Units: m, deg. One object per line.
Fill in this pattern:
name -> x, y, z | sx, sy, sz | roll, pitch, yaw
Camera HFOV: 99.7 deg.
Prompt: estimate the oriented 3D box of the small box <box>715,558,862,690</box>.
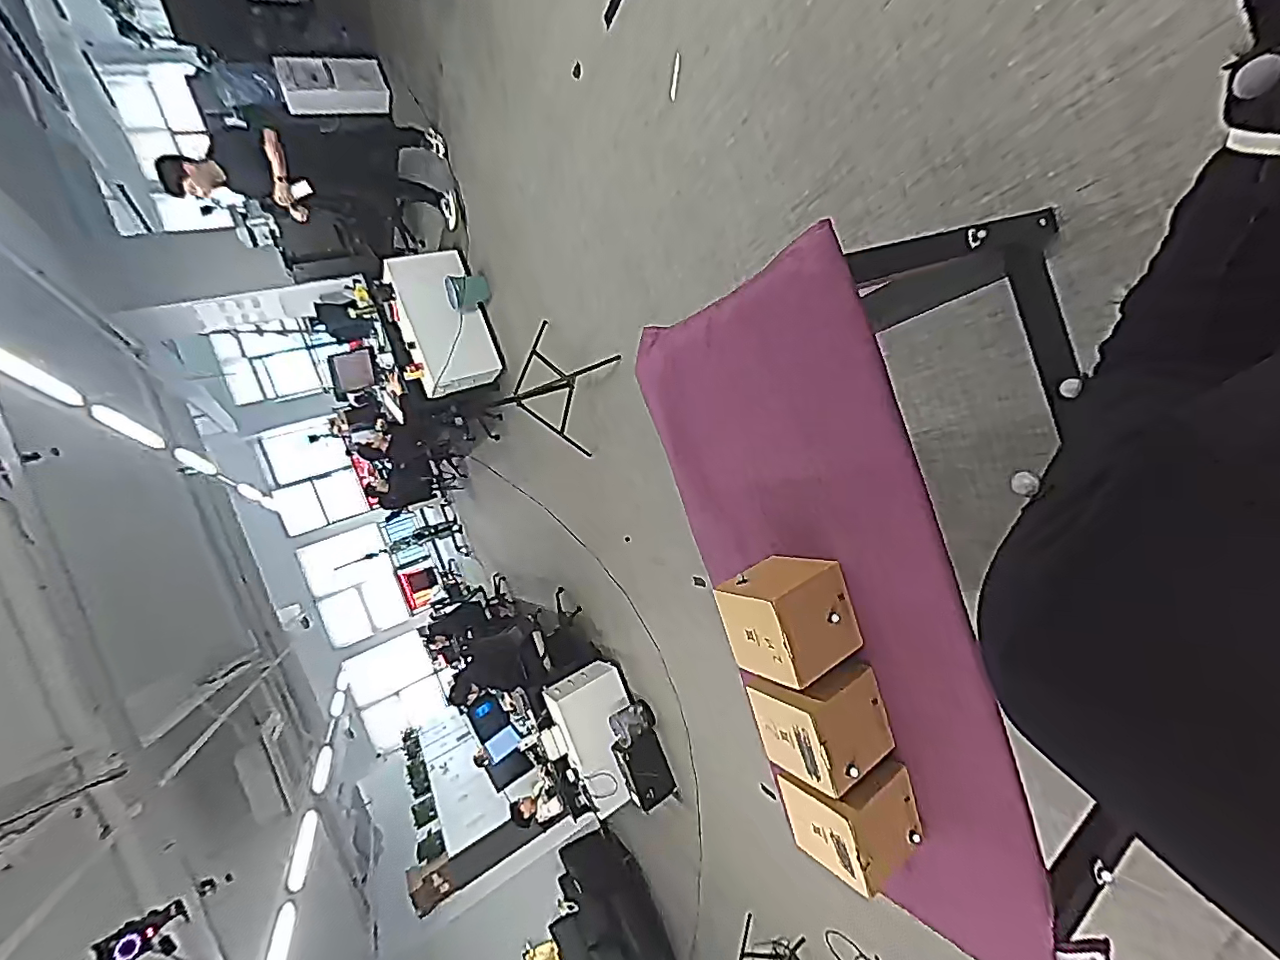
small box -> 0.273, 0.253, 1.004 | 0.179, 0.176, 0.168 | -8, 103, 63
